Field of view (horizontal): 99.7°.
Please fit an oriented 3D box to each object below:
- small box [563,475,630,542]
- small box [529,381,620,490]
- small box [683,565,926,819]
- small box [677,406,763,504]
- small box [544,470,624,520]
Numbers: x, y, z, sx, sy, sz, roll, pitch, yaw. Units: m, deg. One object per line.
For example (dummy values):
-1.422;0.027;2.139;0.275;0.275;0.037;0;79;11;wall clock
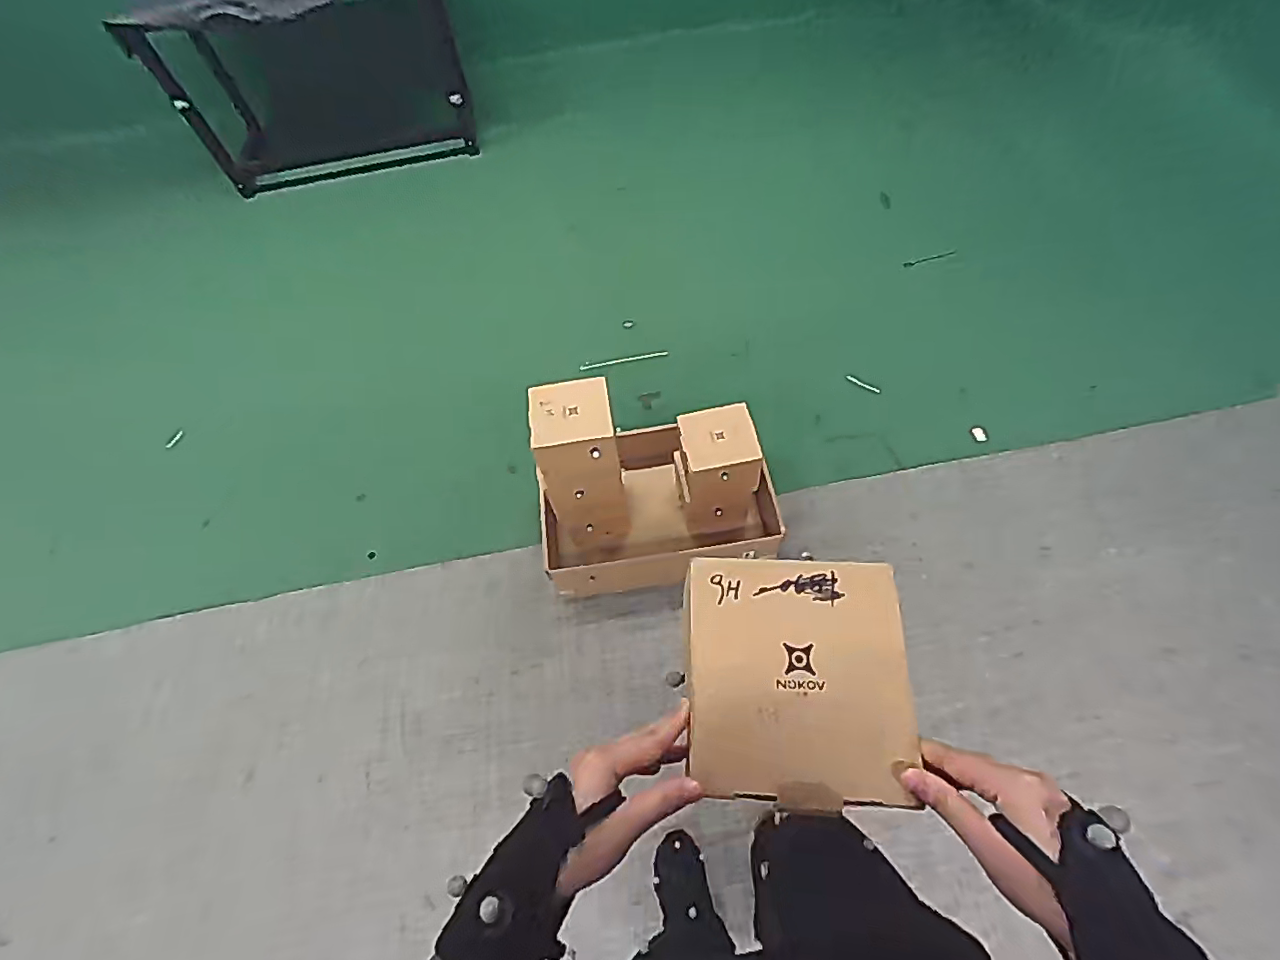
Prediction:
-0.125;0.061;1.502;0.168;0.176;0.179;-10;60;-1;small box
-0.141;-0.095;1.212;0.179;0.176;0.168;-9;59;-1;small box
0.126;0.183;0.484;0.168;0.176;0.179;1;67;2;small box
0.195;-0.056;1.350;0.179;0.176;0.168;-11;61;0;small box
-0.140;-0.012;1.355;0.179;0.176;0.168;-9;60;-2;small box
